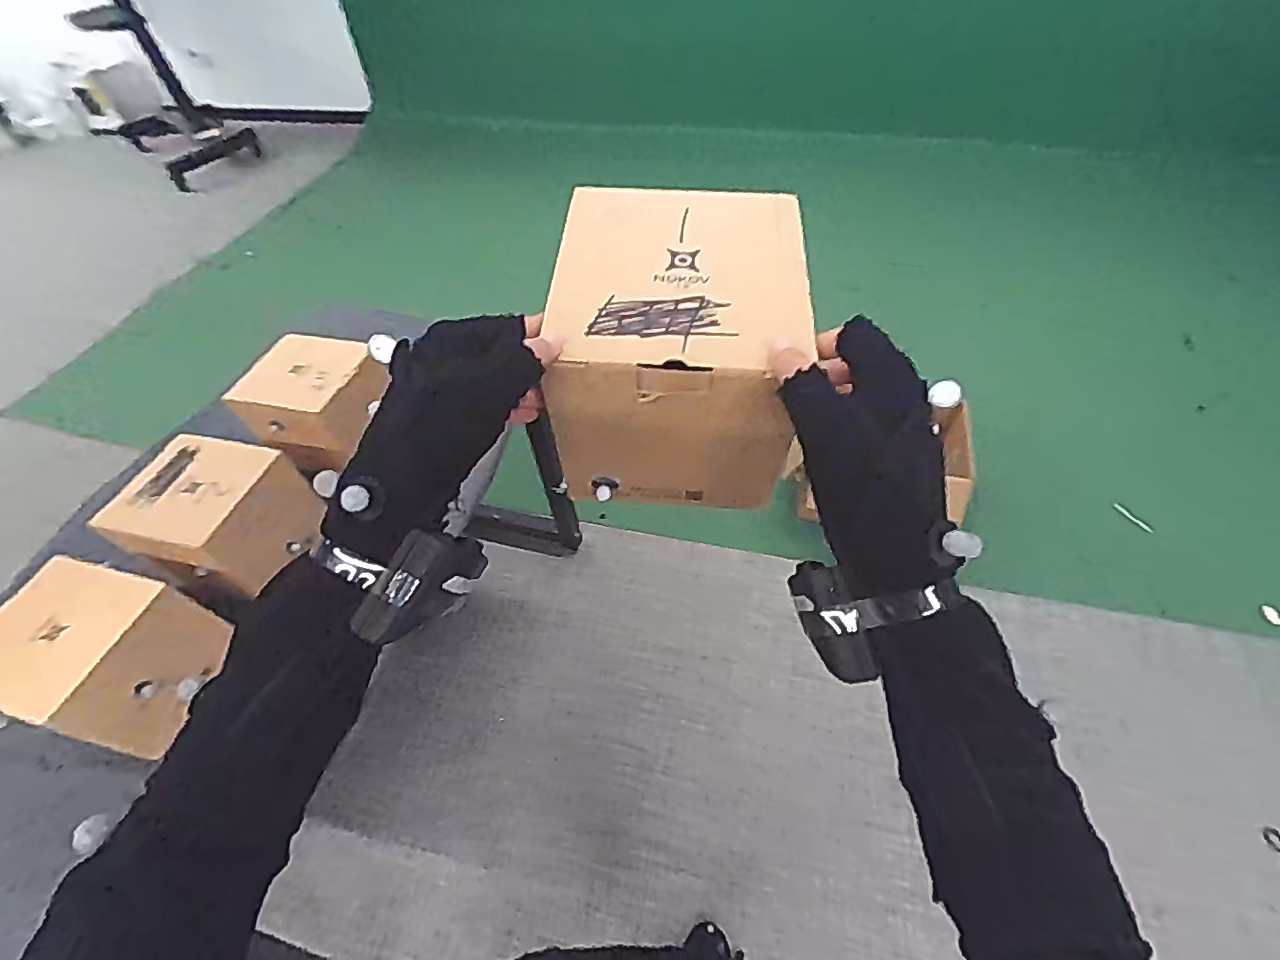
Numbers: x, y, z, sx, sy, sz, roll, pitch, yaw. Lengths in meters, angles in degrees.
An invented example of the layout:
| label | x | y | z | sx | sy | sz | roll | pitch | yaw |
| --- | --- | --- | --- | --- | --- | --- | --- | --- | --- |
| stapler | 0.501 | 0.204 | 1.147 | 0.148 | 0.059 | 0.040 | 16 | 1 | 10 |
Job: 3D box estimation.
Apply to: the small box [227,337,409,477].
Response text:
| label | x | y | z | sx | sy | sz | roll | pitch | yaw |
| --- | --- | --- | --- | --- | --- | --- | --- | --- | --- |
| small box | -0.542 | -0.123 | 0.939 | 0.179 | 0.176 | 0.168 | 9 | 54 | 11 |

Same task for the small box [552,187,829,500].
| label | x | y | z | sx | sy | sz | roll | pitch | yaw |
| --- | --- | --- | --- | --- | --- | --- | --- | --- | --- |
| small box | 0.038 | -0.099 | 0.424 | 0.168 | 0.176 | 0.179 | 4 | 59 | 3 |
